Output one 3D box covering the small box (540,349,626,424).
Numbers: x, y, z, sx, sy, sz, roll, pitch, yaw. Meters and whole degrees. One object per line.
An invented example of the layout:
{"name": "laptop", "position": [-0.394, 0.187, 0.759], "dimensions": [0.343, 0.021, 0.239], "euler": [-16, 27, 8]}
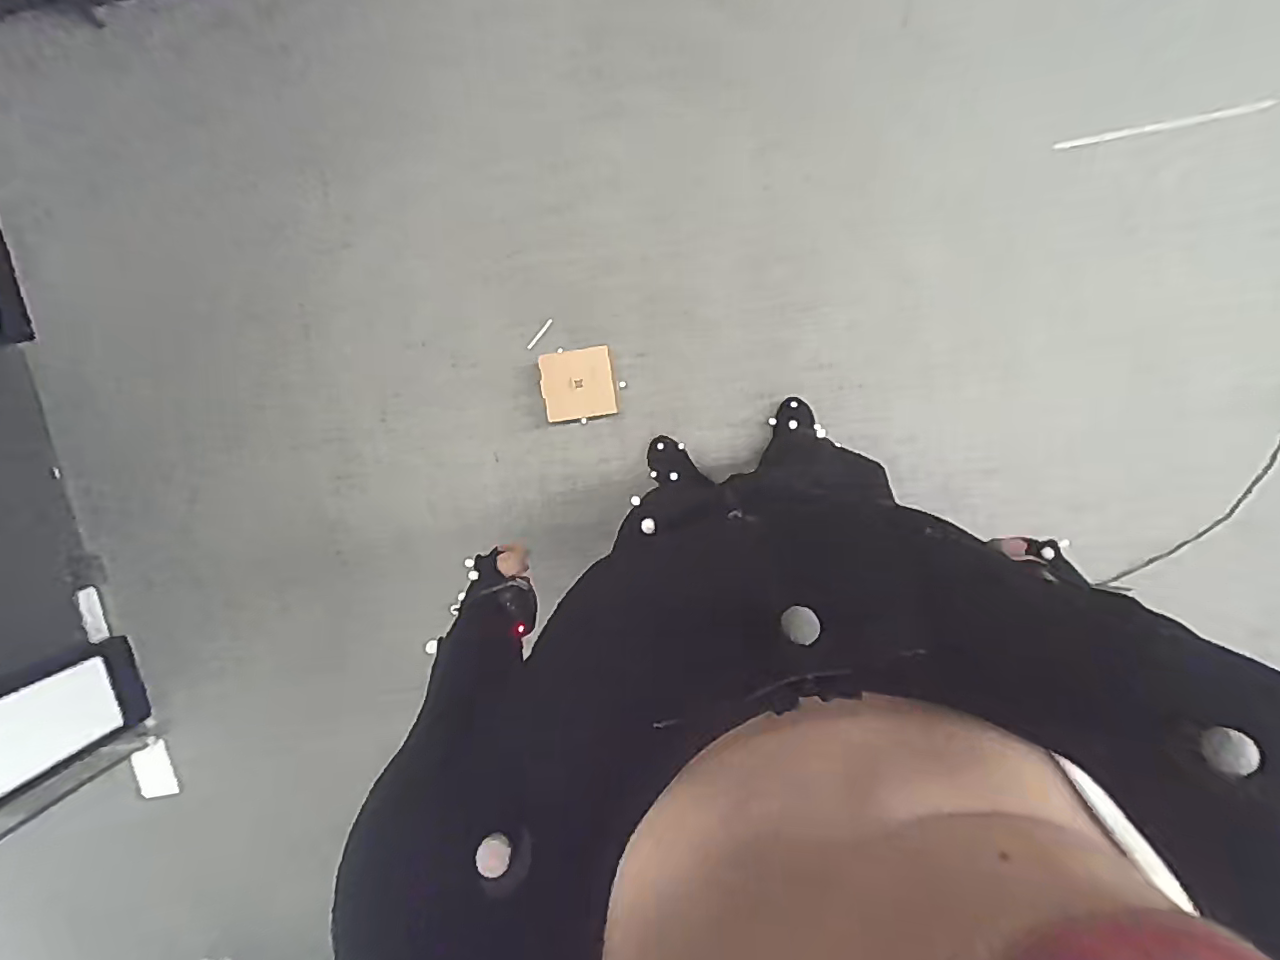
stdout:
{"name": "small box", "position": [-0.141, -0.237, 1.394], "dimensions": [0.179, 0.176, 0.168], "euler": [-8, 98, 5]}
